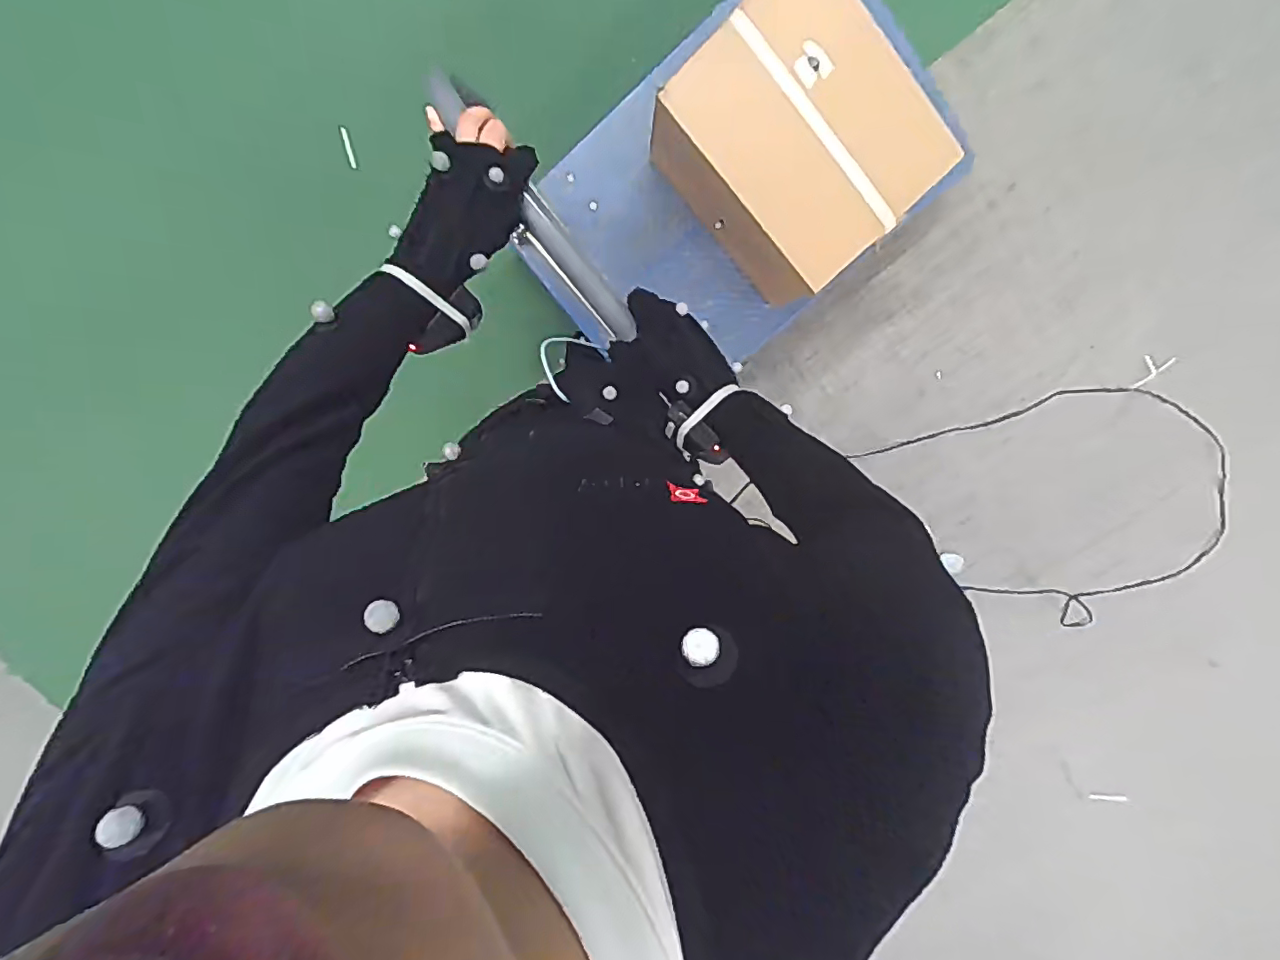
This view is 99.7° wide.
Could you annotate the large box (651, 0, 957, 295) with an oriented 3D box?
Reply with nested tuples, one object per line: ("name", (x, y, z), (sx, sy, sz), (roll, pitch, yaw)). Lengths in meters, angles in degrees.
("large box", (0.267, -0.607, 0.999), (0.320, 0.320, 0.408), (-42, 101, 9))
